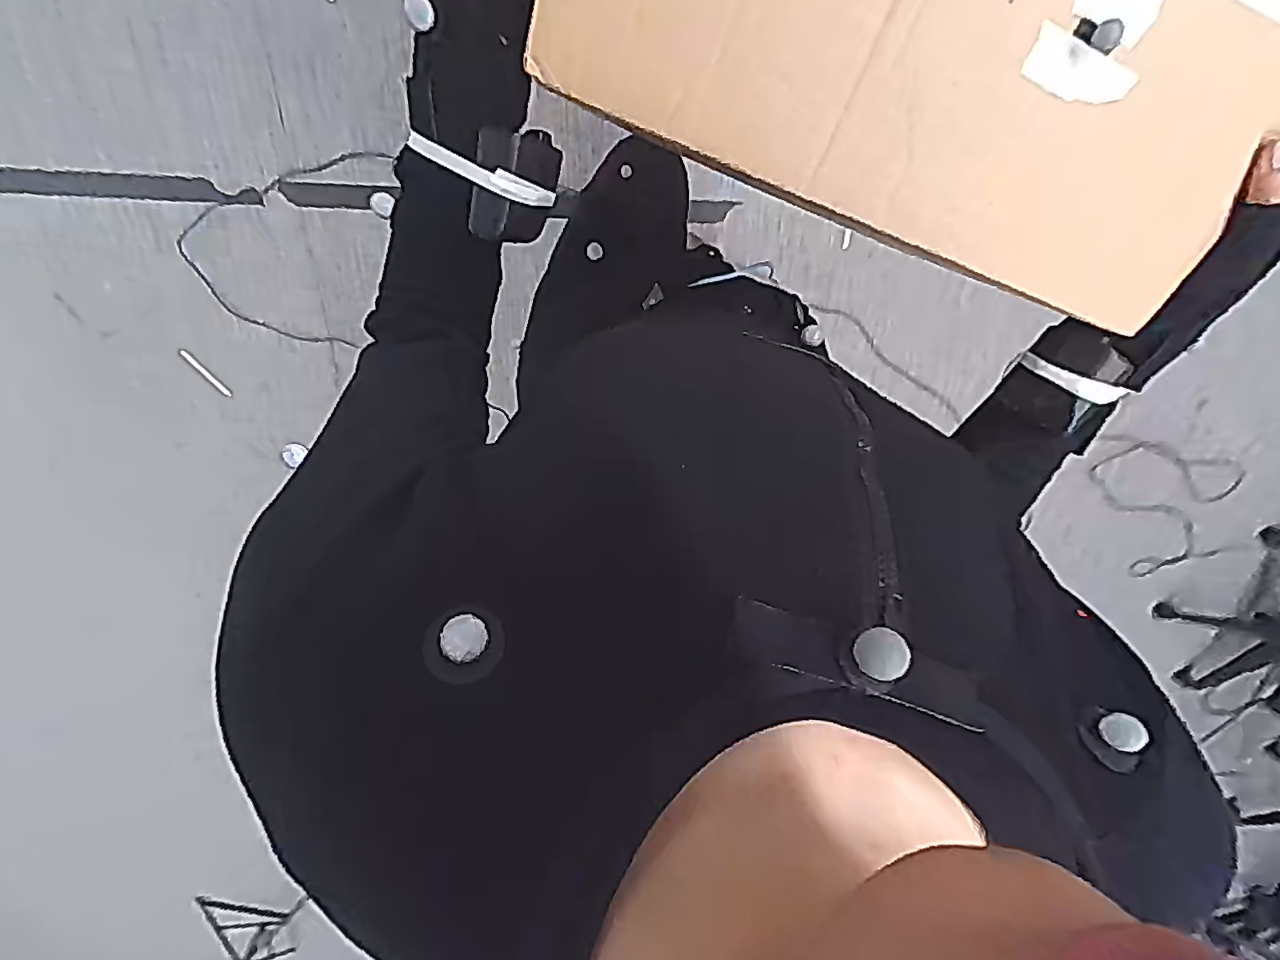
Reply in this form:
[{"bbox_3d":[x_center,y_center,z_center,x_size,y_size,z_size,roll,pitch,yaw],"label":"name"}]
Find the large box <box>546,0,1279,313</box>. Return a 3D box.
[{"bbox_3d":[0.182,-0.365,0.382,0.408,0.320,0.320,18,121,-10],"label":"large box"}]
